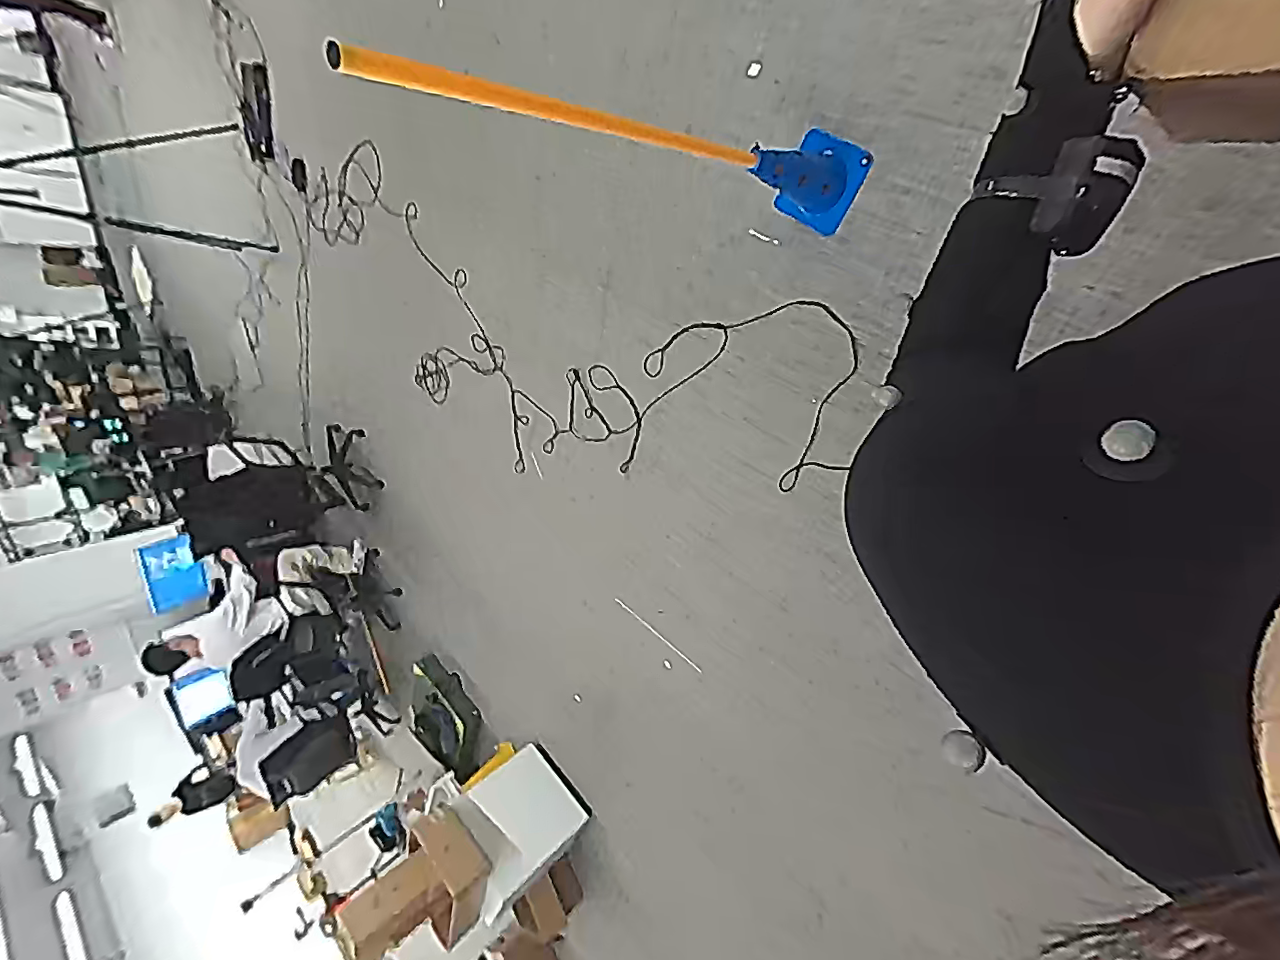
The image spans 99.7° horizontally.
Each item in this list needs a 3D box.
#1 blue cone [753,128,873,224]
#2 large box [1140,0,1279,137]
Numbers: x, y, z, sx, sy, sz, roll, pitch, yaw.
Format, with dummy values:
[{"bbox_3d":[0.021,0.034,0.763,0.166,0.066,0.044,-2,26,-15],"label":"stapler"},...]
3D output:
[{"bbox_3d":[0.366,-0.735,1.265,0.193,0.380,0.192,44,128,21],"label":"blue cone"},{"bbox_3d":[0.571,-0.379,0.262,0.408,0.320,0.320,26,124,38],"label":"large box"}]
